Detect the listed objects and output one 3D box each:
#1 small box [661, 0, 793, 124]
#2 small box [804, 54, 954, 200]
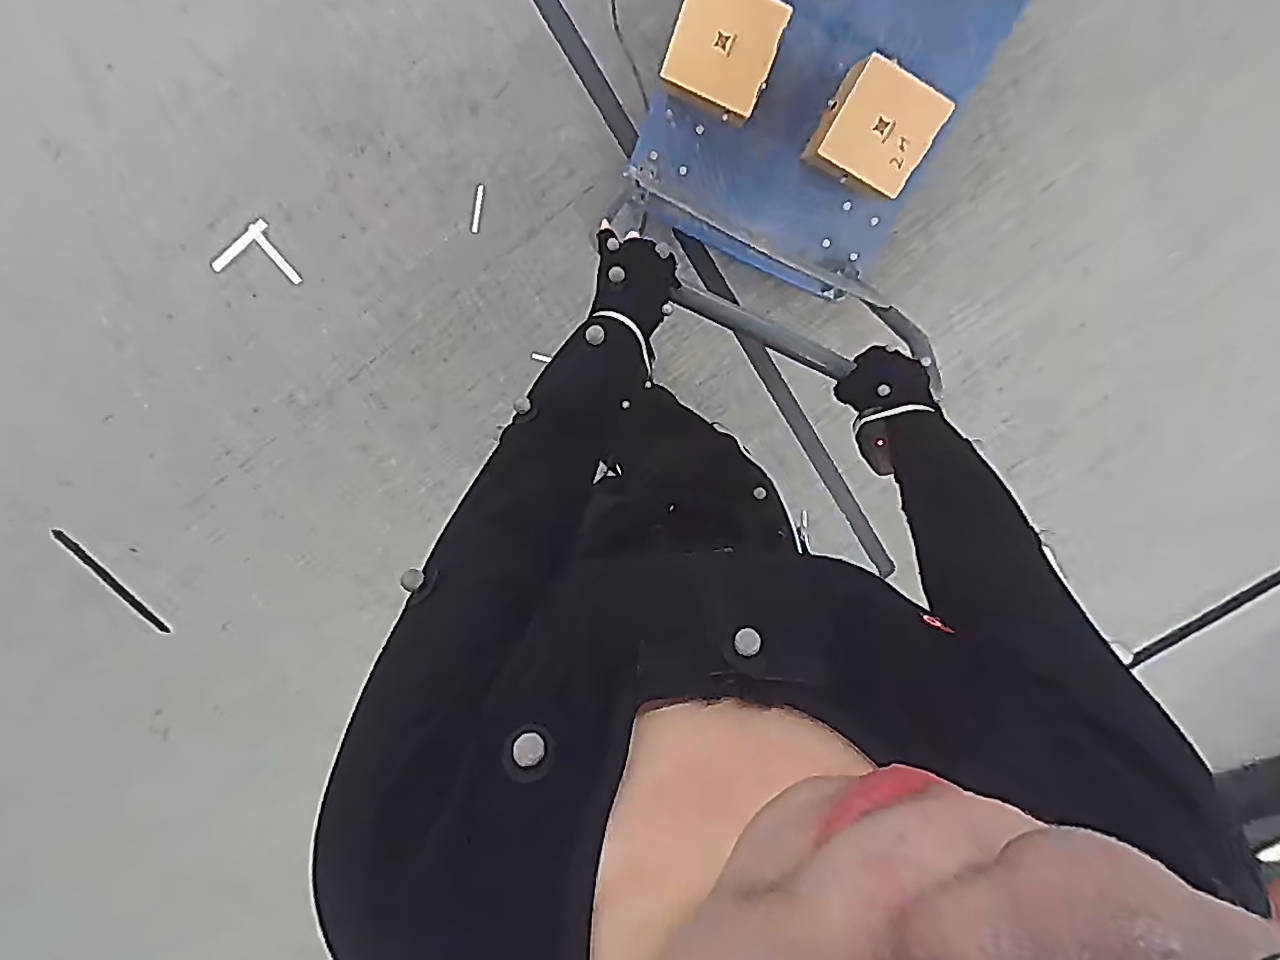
[{"bbox_3d":[0.148,-0.777,0.986,0.179,0.176,0.168,20,118,-8],"label":"small box"},{"bbox_3d":[0.437,-0.654,1.025,0.179,0.176,0.168,26,117,-9],"label":"small box"}]
